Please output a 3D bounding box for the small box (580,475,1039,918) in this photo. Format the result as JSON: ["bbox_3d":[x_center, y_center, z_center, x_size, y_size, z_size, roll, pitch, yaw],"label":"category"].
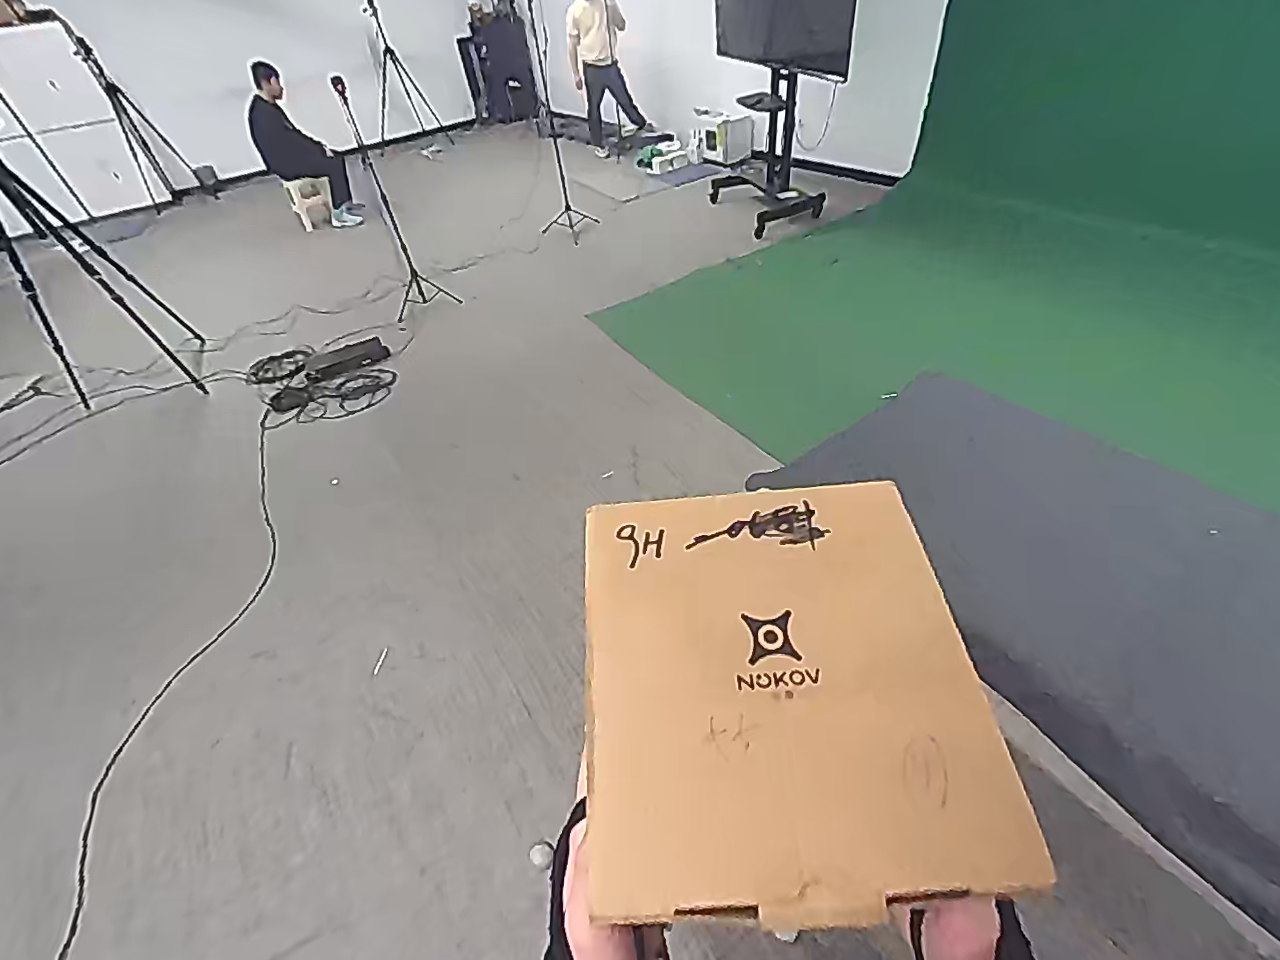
[{"bbox_3d":[0.058,0.118,0.301,0.168,0.176,0.179,-3,56,-2],"label":"small box"}]
